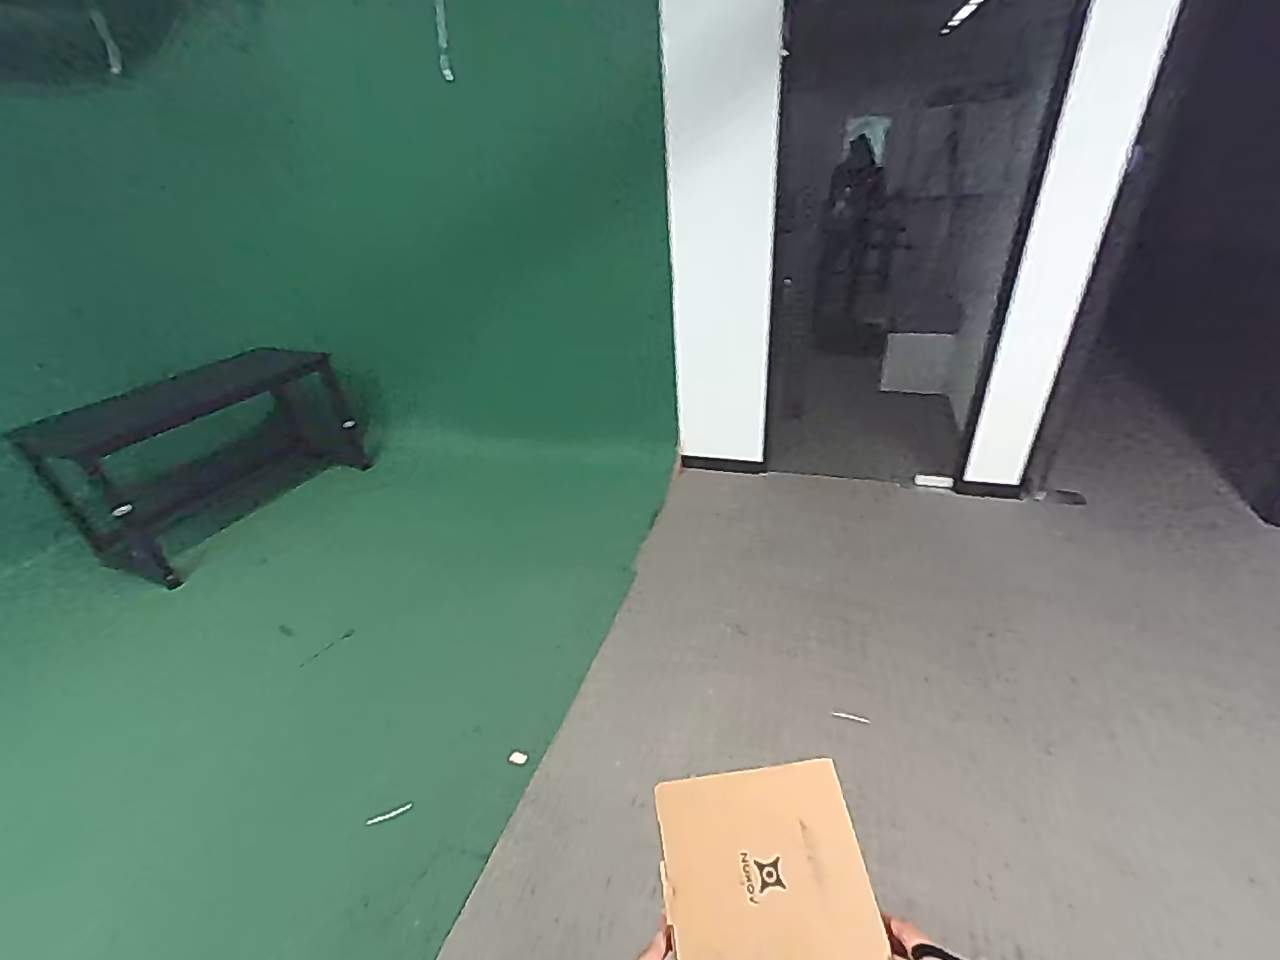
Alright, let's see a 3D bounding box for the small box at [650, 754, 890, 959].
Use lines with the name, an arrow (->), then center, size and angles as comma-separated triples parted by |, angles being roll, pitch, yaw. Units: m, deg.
small box -> 0.110, 0.387, 0.532 | 0.179, 0.176, 0.168 | -8, 53, -2
